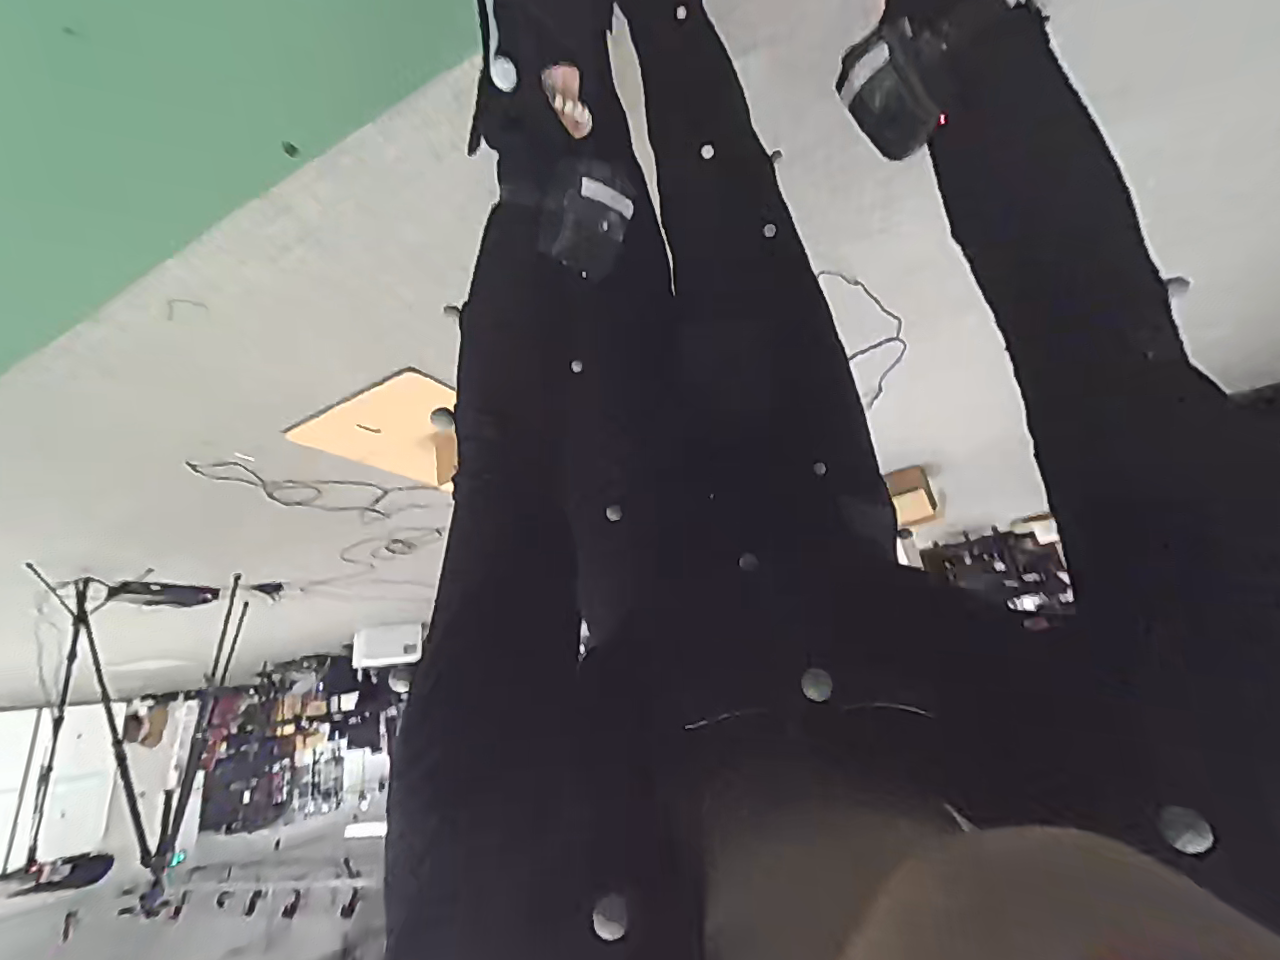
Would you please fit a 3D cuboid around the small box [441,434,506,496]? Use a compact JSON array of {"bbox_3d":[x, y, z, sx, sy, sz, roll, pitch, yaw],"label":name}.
[{"bbox_3d":[-0.624,-0.057,2.014,0.179,0.176,0.168,-20,158,27],"label":"small box"}]
